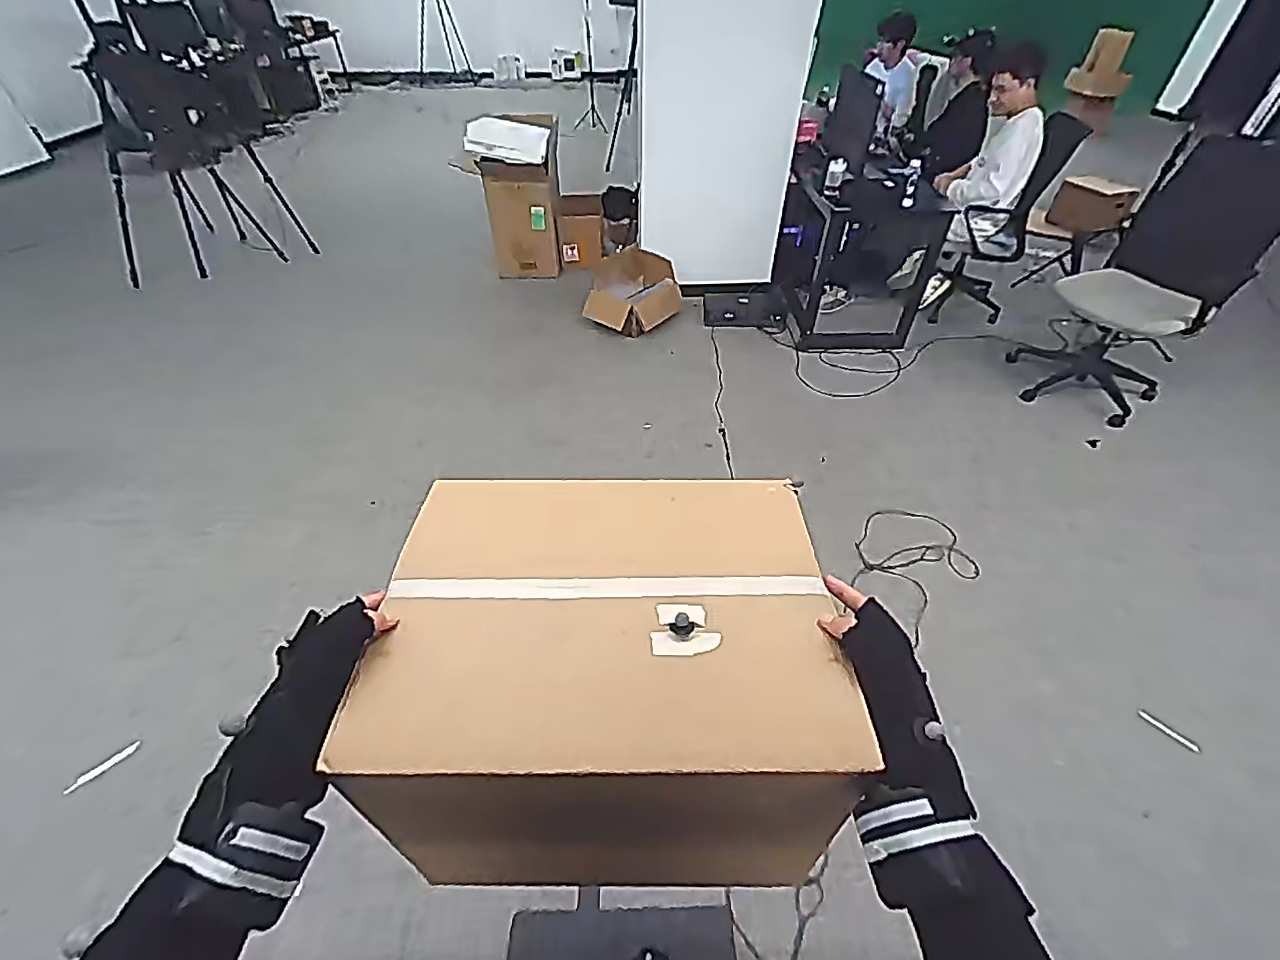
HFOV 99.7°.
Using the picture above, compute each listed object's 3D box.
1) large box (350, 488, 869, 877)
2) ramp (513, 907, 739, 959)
[{"bbox_3d":[-0.026,0.223,0.615,0.408,0.320,0.320,0,41,0],"label":"large box"},{"bbox_3d":[-0.023,1.259,0.817,0.509,0.206,0.991,-3,44,-1],"label":"ramp"}]
